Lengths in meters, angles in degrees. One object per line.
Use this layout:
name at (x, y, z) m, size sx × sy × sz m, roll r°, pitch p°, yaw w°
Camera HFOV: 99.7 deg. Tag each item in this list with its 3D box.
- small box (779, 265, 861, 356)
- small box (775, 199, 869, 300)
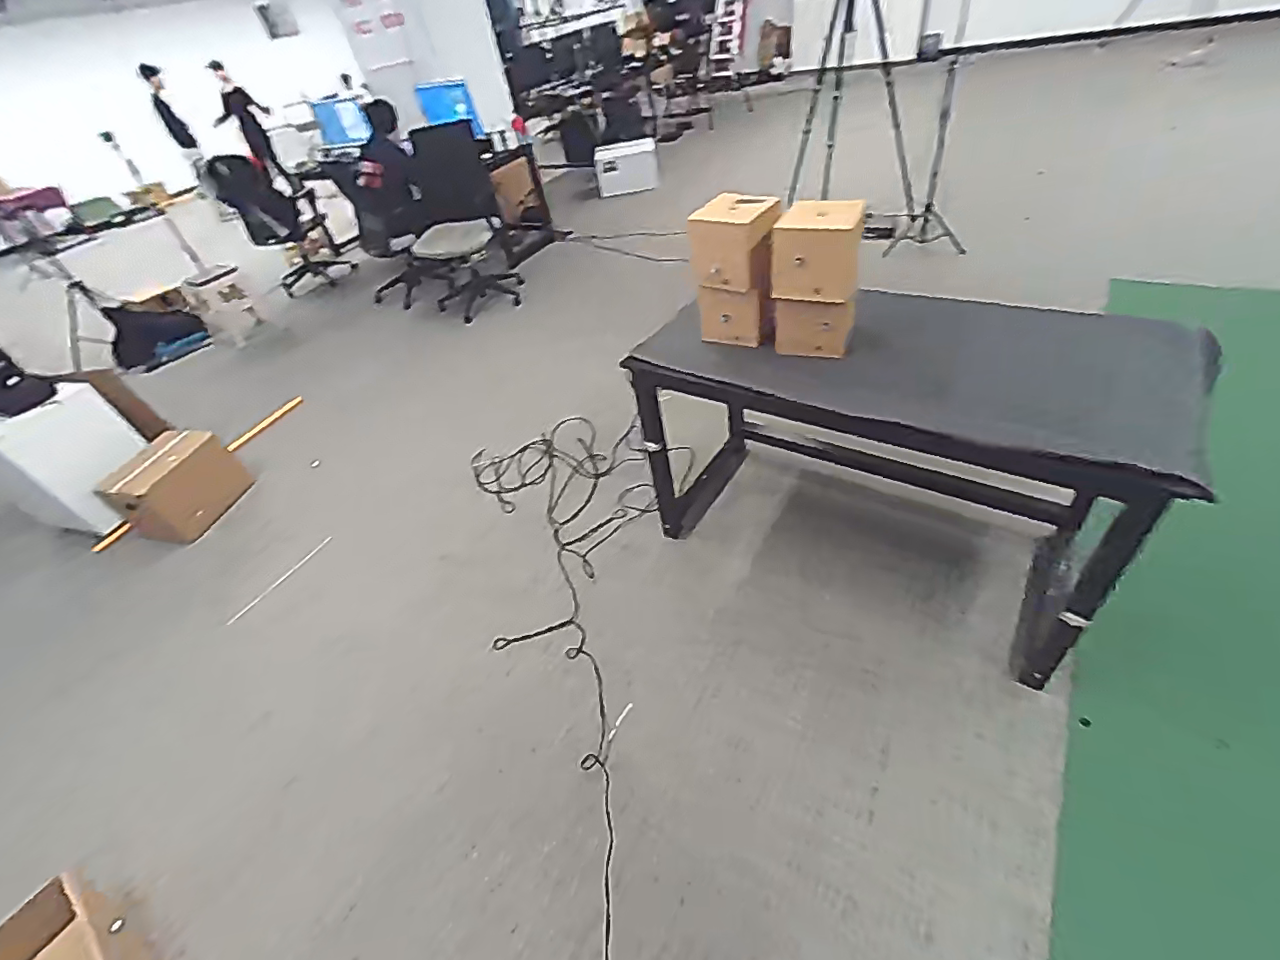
small box at (0.455, -0.434, 1.377) m, size 0.168 × 0.176 × 0.179 m, roll 12°, pitch 47°, yaw 23°
small box at (0.418, -0.532, 1.251) m, size 0.168 × 0.176 × 0.179 m, roll 14°, pitch 48°, yaw 24°
